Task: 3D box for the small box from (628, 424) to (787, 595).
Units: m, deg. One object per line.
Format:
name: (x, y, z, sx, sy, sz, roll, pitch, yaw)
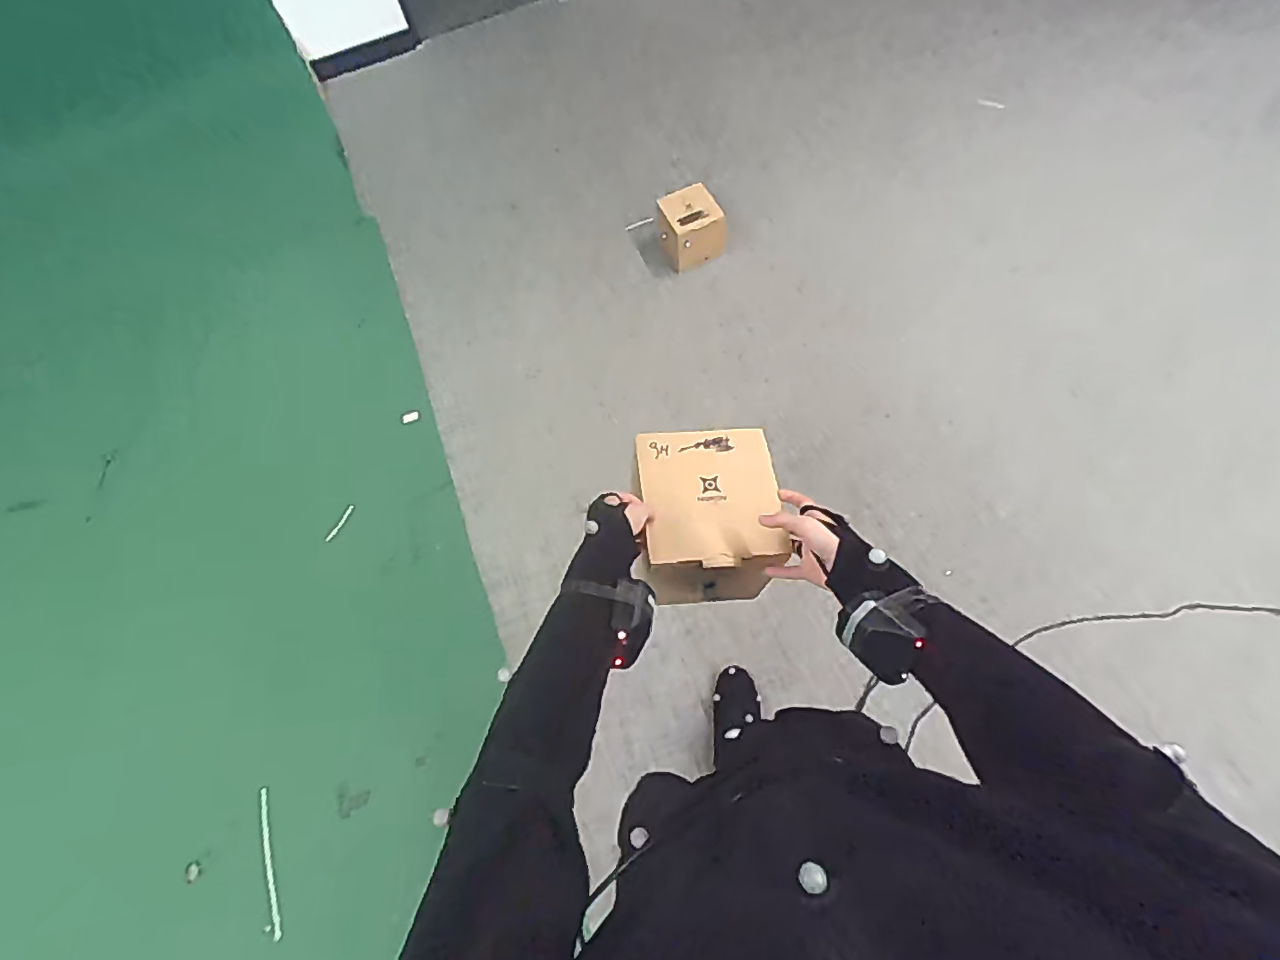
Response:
small box: (0.074, 0.046, 0.705, 0.168, 0.176, 0.179, -2, 62, -6)
